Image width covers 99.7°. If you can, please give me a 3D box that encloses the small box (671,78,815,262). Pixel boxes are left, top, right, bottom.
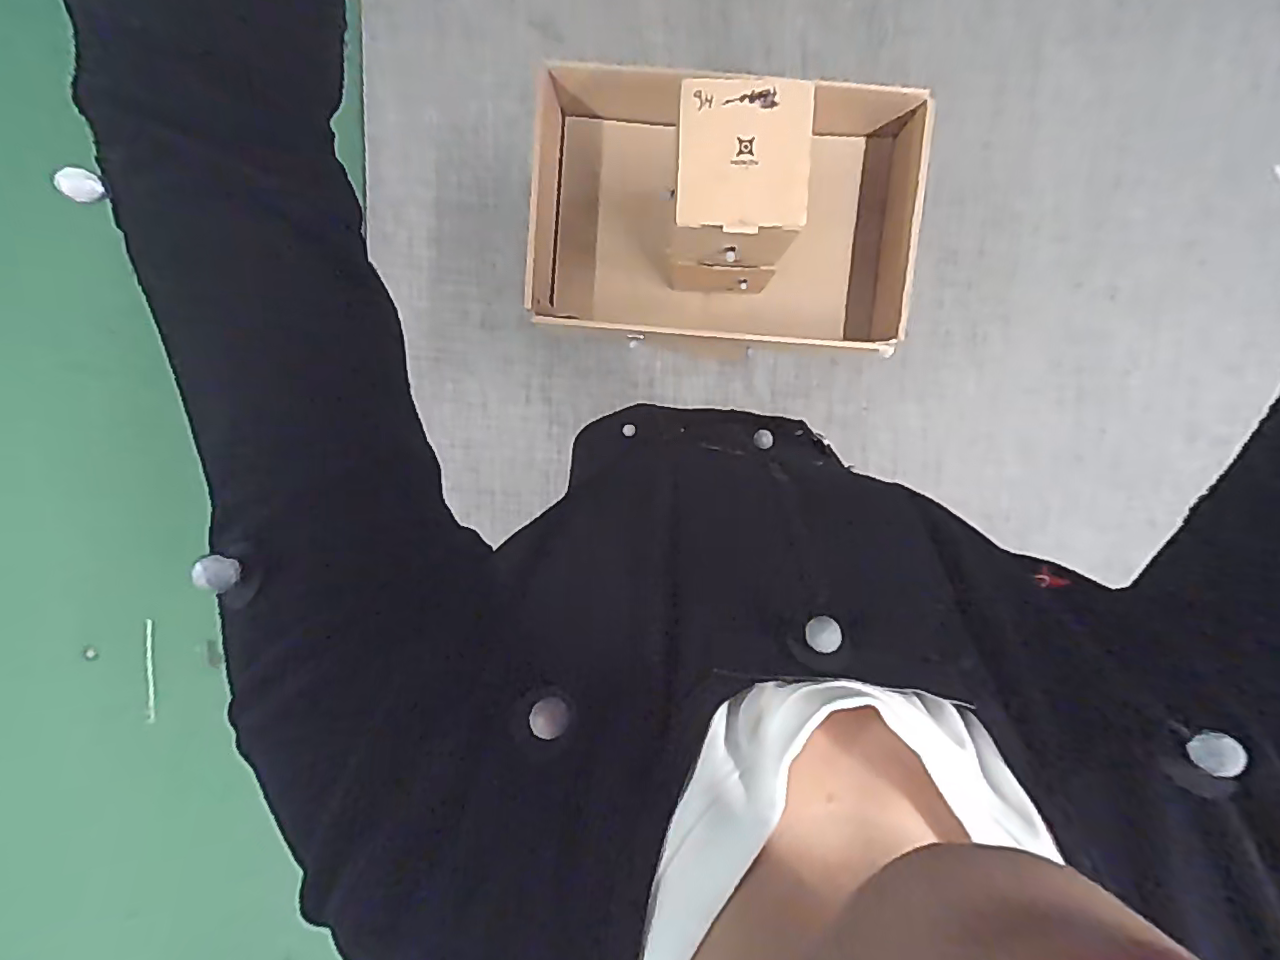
[{"bbox_3d":[0.131,-0.415,0.754,0.168,0.176,0.179,3,97,0],"label":"small box"}]

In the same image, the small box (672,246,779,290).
[{"bbox_3d":[0.142,-0.430,0.917,0.168,0.176,0.179,3,95,1],"label":"small box"}]
